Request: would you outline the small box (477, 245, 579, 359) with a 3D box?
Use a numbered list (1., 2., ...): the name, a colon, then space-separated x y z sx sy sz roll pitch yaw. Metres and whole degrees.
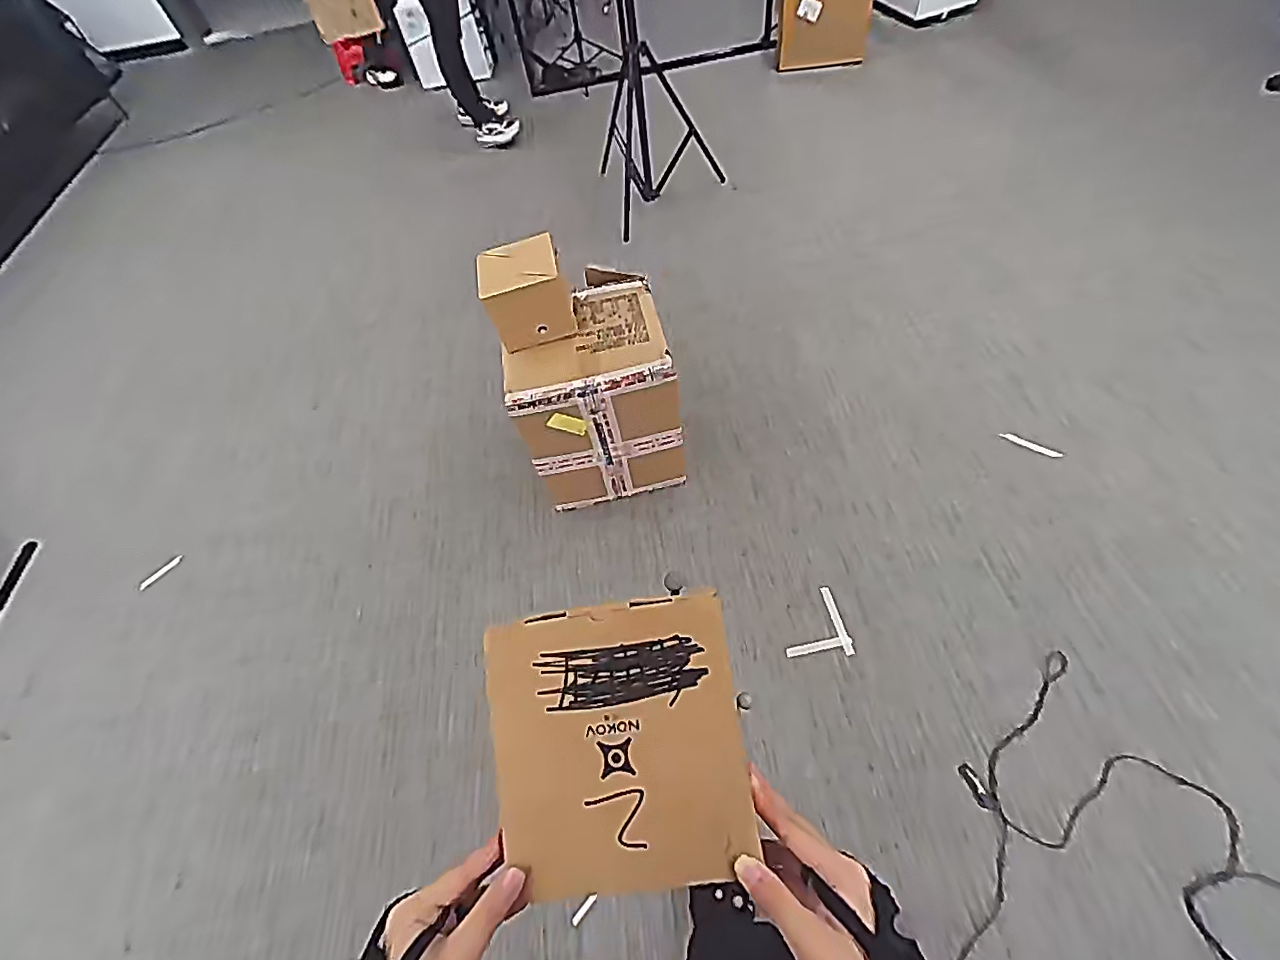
1. small box: -0.259 -0.417 1.263 0.179 0.176 0.168 -15 57 2
